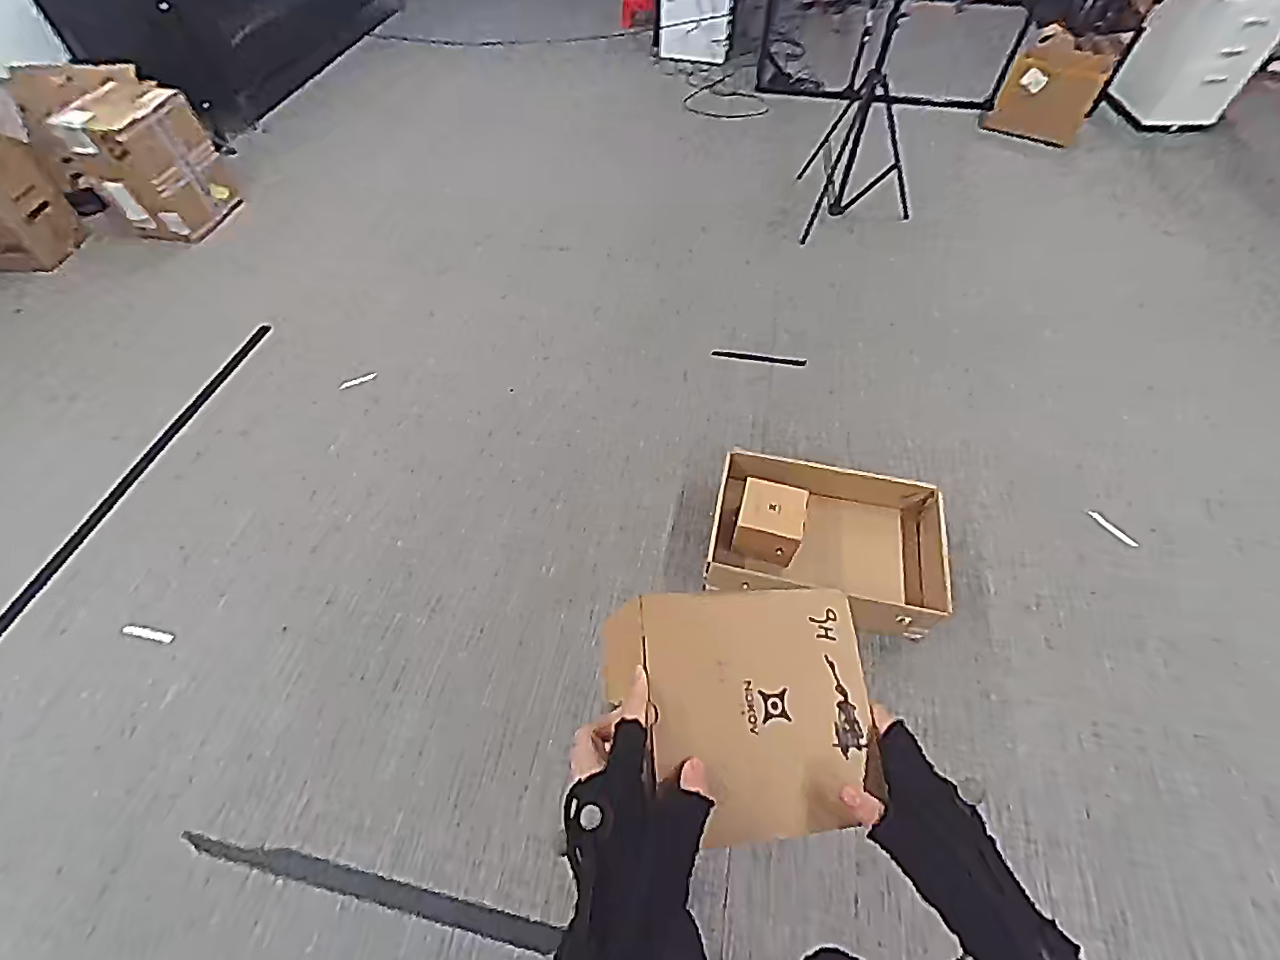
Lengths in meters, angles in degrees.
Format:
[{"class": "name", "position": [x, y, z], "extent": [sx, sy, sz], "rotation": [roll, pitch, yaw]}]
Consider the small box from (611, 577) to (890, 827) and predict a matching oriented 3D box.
[{"class": "small box", "position": [0.071, 0.183, 0.464], "extent": [0.179, 0.176, 0.168], "rotation": [2, 67, -13]}]

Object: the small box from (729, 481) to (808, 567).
[{"class": "small box", "position": [0.366, 0.130, 1.548], "extent": [0.179, 0.176, 0.168], "rotation": [13, 56, 9]}]
